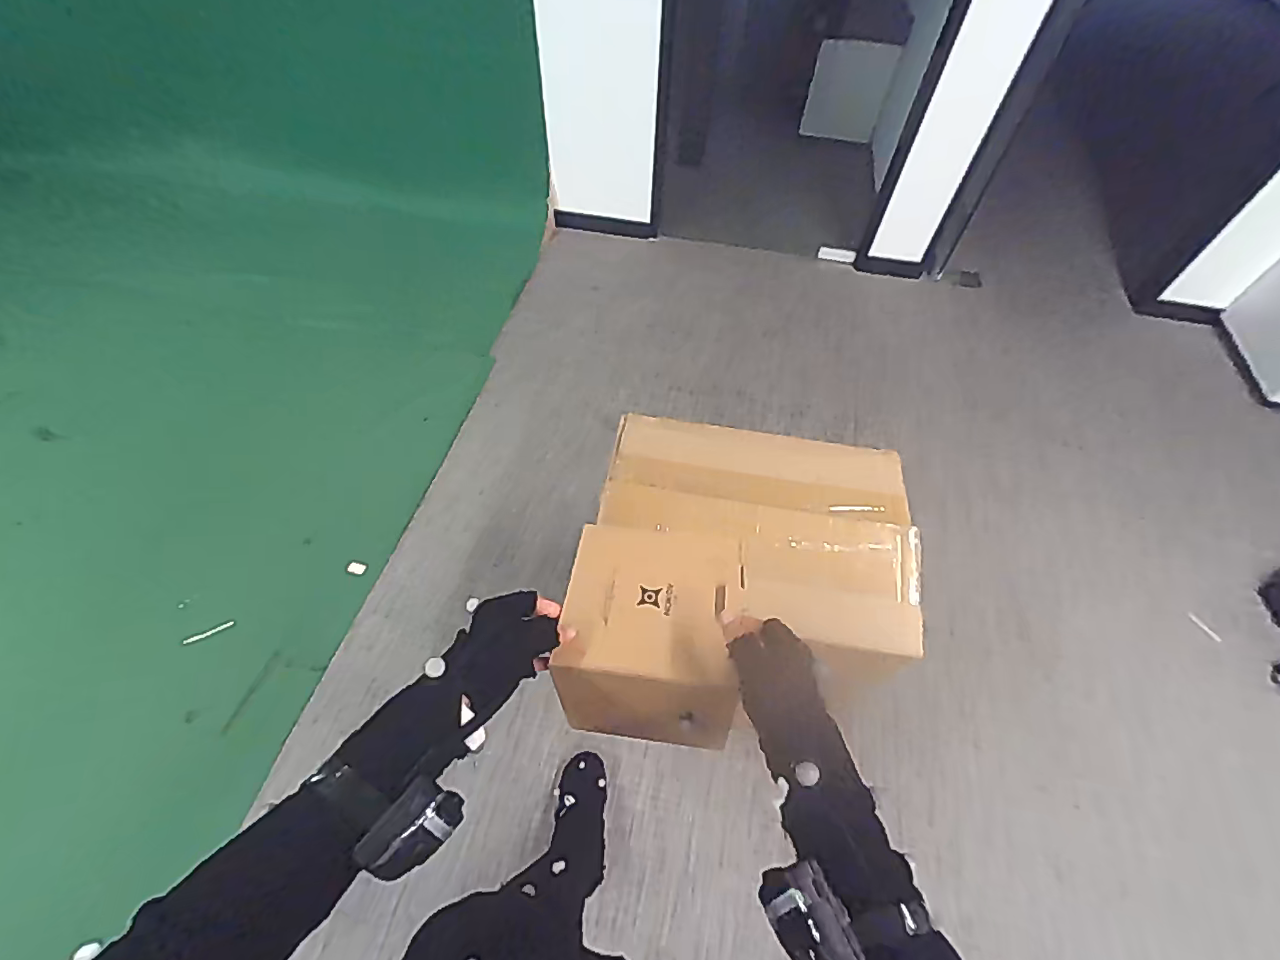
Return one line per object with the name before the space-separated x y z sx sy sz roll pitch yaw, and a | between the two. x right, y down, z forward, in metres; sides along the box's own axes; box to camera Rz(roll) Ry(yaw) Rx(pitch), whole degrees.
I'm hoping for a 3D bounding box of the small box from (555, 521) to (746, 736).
small box | 0.019 0.167 0.600 0.179 0.176 0.168 4 46 6
